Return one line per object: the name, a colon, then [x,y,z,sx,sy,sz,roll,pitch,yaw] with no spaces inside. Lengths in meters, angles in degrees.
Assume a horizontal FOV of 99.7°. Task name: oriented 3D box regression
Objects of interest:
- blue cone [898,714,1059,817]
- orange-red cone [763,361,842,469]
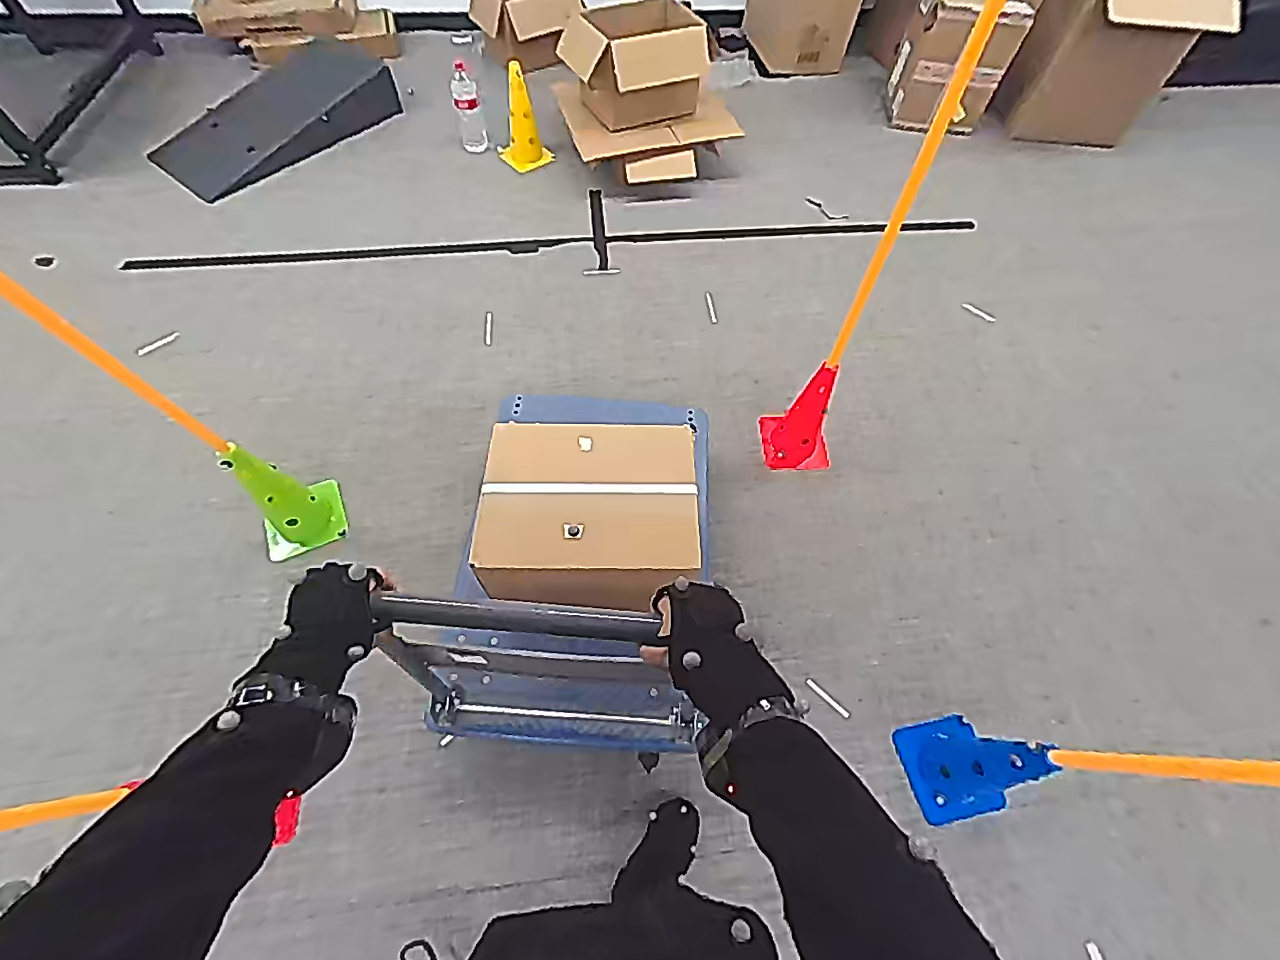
blue cone: [0.717,0.570,1.104,0.193,0.380,0.192,-8,59,-7]
orange-red cone: [0.491,-0.204,1.528,0.199,0.360,0.198,2,60,-3]
